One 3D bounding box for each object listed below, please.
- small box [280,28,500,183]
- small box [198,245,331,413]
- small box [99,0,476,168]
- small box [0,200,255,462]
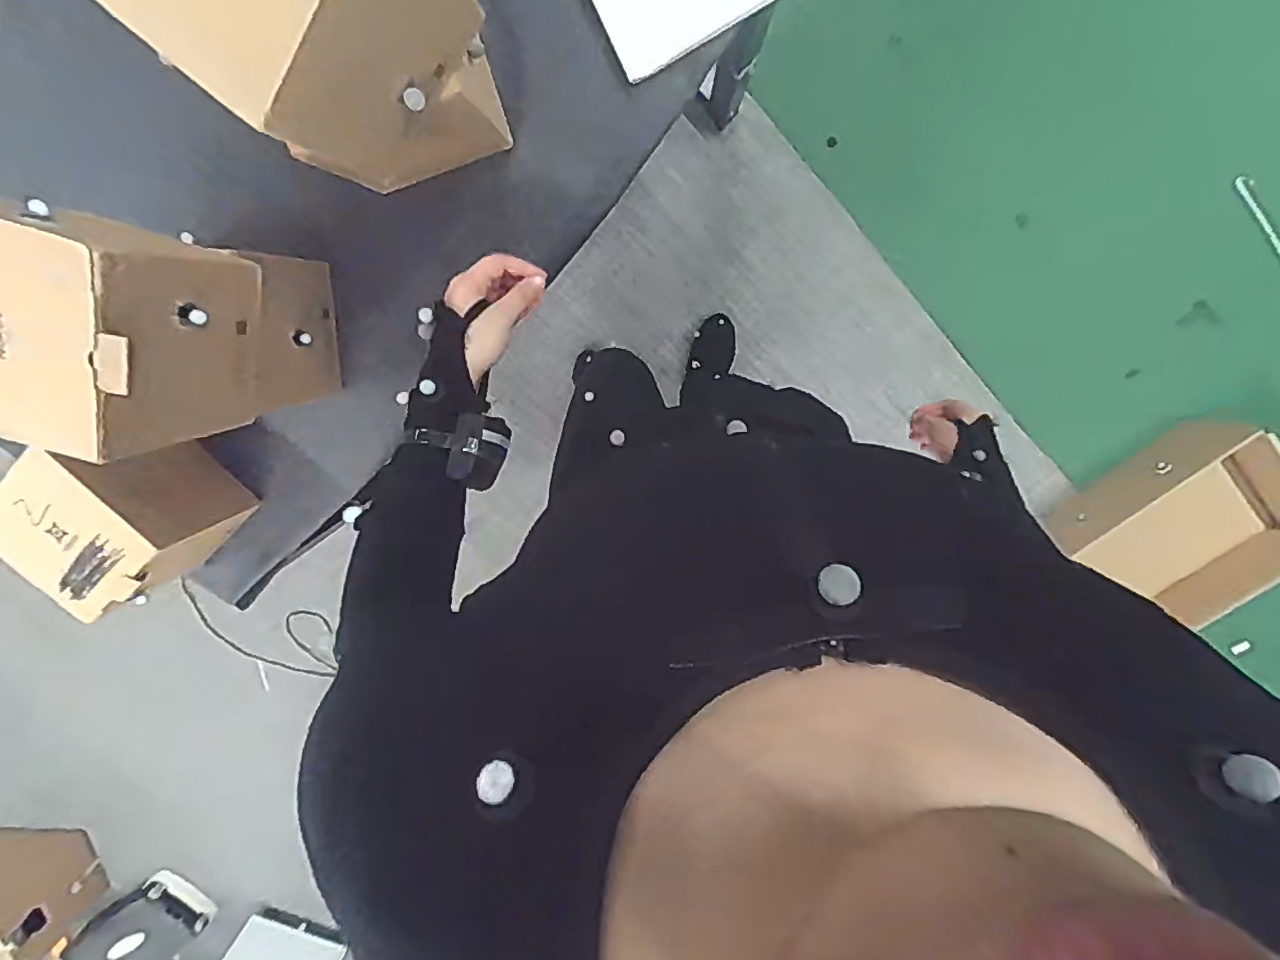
[{"bbox_3d":[-0.255,-0.418,0.532,0.179,0.176,0.168,-15,107,9],"label":"small box"},{"bbox_3d":[-0.485,-0.180,0.623,0.179,0.176,0.168,5,108,1],"label":"small box"},{"bbox_3d":[-0.251,-0.357,0.379,0.179,0.176,0.168,39,107,-10],"label":"small box"},{"bbox_3d":[-0.475,-0.134,0.467,0.179,0.176,0.168,16,107,-2],"label":"small box"}]
